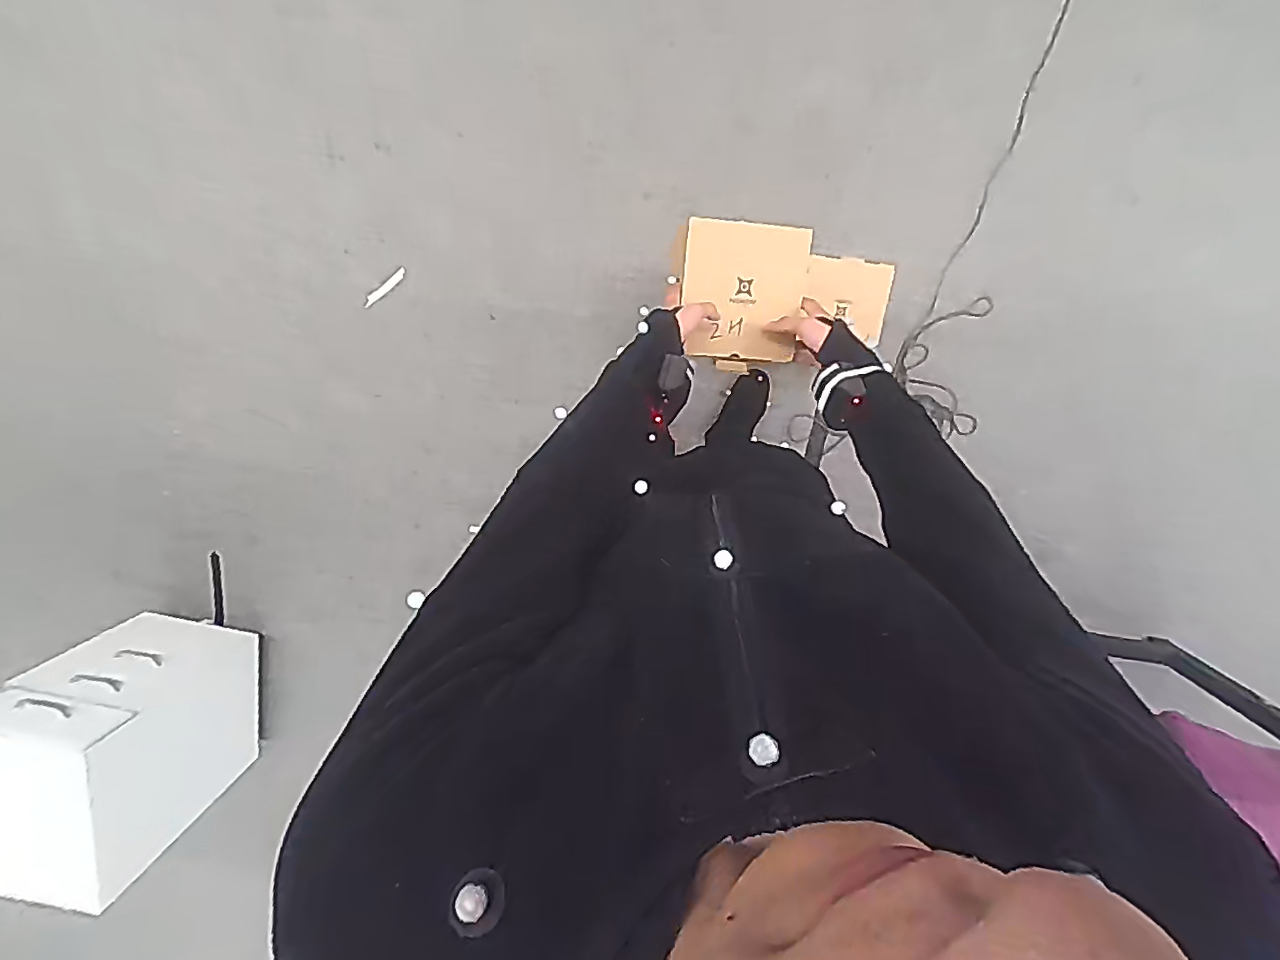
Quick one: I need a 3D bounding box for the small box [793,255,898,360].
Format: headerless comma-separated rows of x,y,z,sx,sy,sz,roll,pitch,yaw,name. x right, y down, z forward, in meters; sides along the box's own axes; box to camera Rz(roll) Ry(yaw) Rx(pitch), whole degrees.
0.396,-0.345,1.106,0.168,0.176,0.179,8,104,3,small box

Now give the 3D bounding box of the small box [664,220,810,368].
0.129,-0.266,0.790,0.168,0.176,0.179,3,108,-4,small box
